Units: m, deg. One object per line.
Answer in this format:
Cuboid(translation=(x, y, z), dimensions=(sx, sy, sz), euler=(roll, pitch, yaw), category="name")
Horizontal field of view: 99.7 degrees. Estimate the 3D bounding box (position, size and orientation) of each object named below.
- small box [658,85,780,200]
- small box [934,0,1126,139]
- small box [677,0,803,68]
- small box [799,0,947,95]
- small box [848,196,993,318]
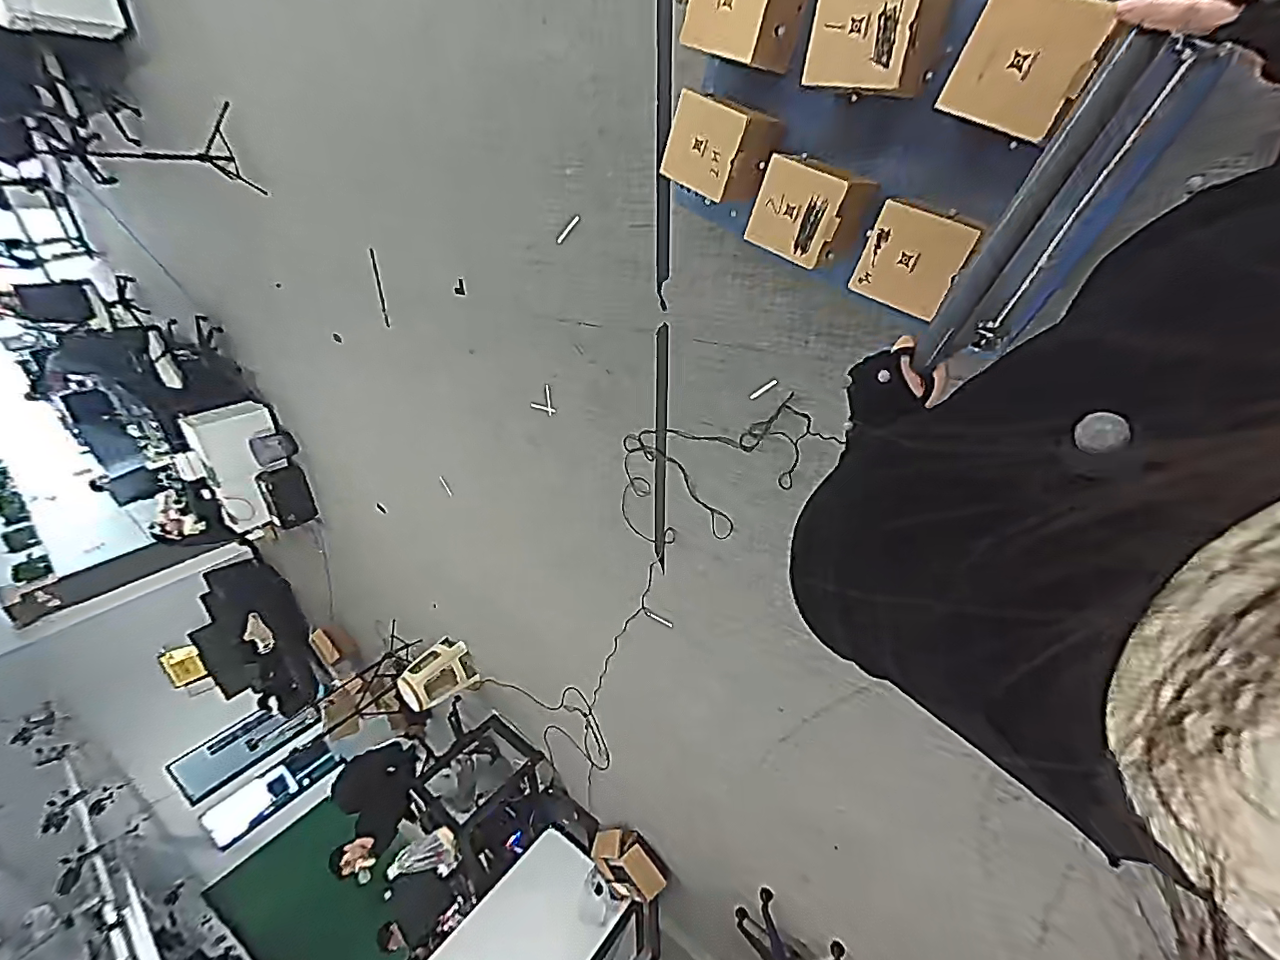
Cuboid(translation=(0.174, -0.736, 1.190), dimensions=(0.179, 0.176, 0.168), euler=(37, 133, 19), category="small box")
Cuboid(translation=(0.610, -0.656, 0.850), dimensions=(0.179, 0.176, 0.168), euler=(37, 132, 21), category="small box")
Cuboid(translation=(0.204, -0.928, 1.057), dimensions=(0.179, 0.176, 0.168), euler=(34, 132, 23), category="small box")
Cuboid(translation=(0.412, -0.788, 0.949), dimensions=(0.179, 0.176, 0.168), euler=(28, 129, 30), category="small box")
Cuboid(translation=(0.539, -0.434, 1.036), dimensions=(0.179, 0.176, 0.168), euler=(34, 131, 23), category="small box")
